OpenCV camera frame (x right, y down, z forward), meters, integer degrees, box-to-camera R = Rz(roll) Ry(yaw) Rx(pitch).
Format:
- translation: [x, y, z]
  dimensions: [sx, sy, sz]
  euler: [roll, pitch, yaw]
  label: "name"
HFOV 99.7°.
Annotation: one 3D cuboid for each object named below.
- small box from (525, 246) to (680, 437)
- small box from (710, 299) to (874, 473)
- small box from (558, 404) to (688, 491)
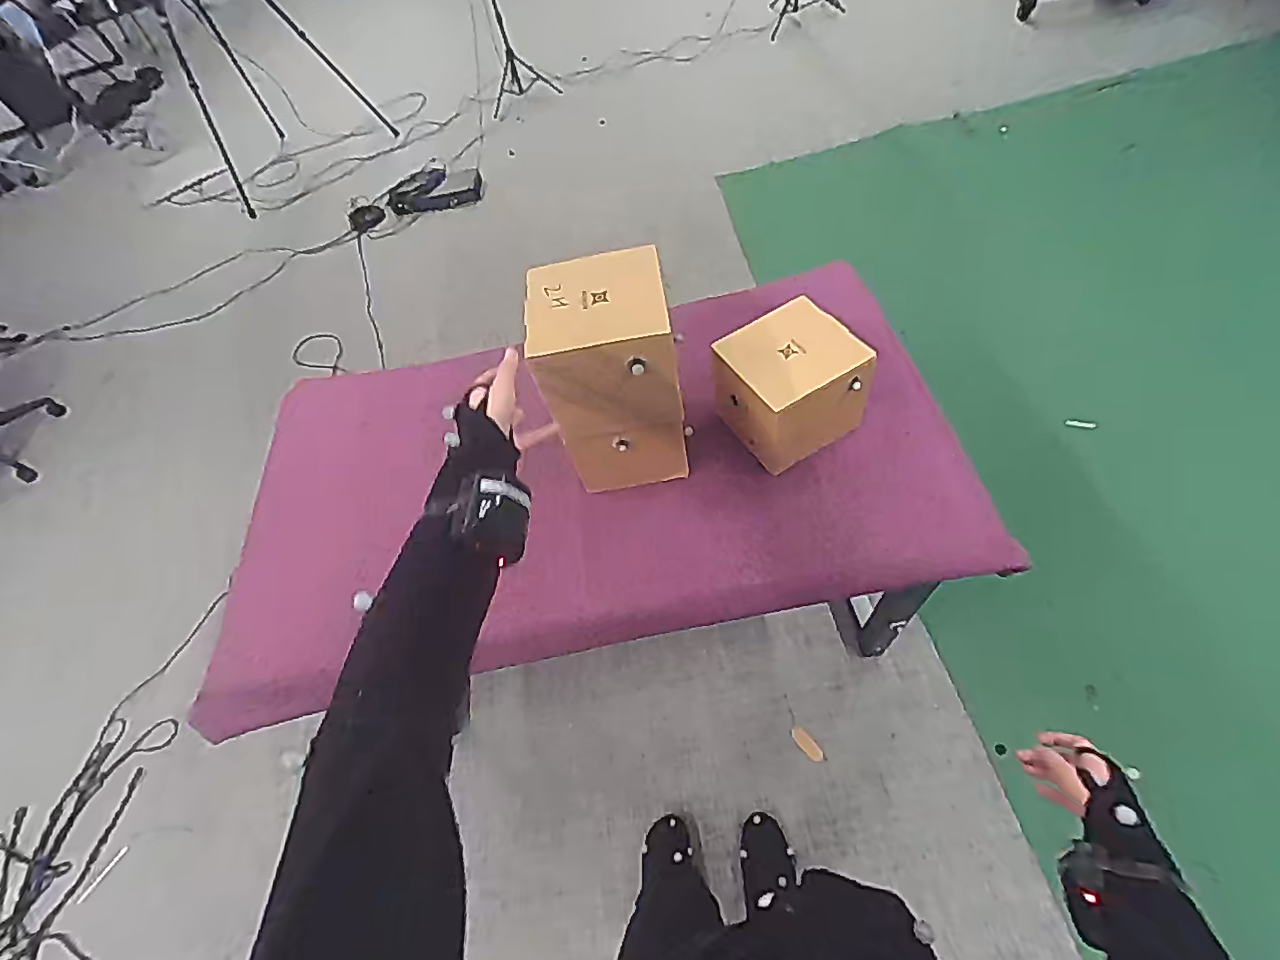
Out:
- translation: [-0.042, -0.178, 0.725]
  dimensions: [0.179, 0.176, 0.168]
  euler: [-9, 57, 5]
  label: "small box"
- translation: [0.231, -0.142, 0.849]
  dimensions: [0.179, 0.176, 0.168]
  euler: [-29, 57, -8]
  label: "small box"
- translation: [-0.024, -0.097, 0.868]
  dimensions: [0.179, 0.176, 0.168]
  euler: [-9, 57, 4]
  label: "small box"
